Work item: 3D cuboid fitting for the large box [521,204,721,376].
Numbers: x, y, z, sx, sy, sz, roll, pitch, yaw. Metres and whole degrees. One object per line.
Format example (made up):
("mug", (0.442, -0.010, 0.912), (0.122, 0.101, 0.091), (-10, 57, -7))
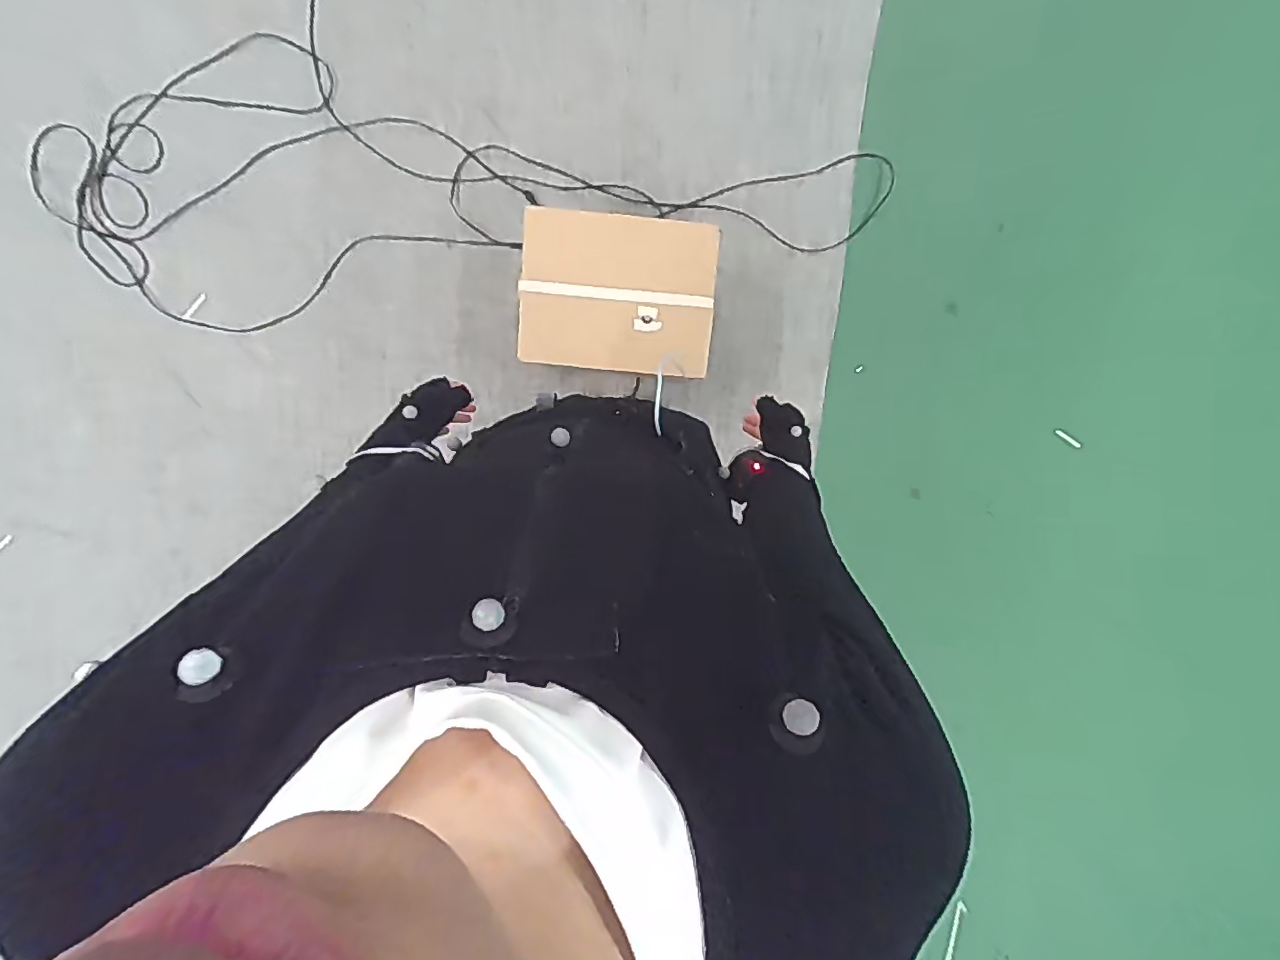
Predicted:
("large box", (-0.048, -0.417, 1.268), (0.408, 0.320, 0.320), (5, 100, -2))
